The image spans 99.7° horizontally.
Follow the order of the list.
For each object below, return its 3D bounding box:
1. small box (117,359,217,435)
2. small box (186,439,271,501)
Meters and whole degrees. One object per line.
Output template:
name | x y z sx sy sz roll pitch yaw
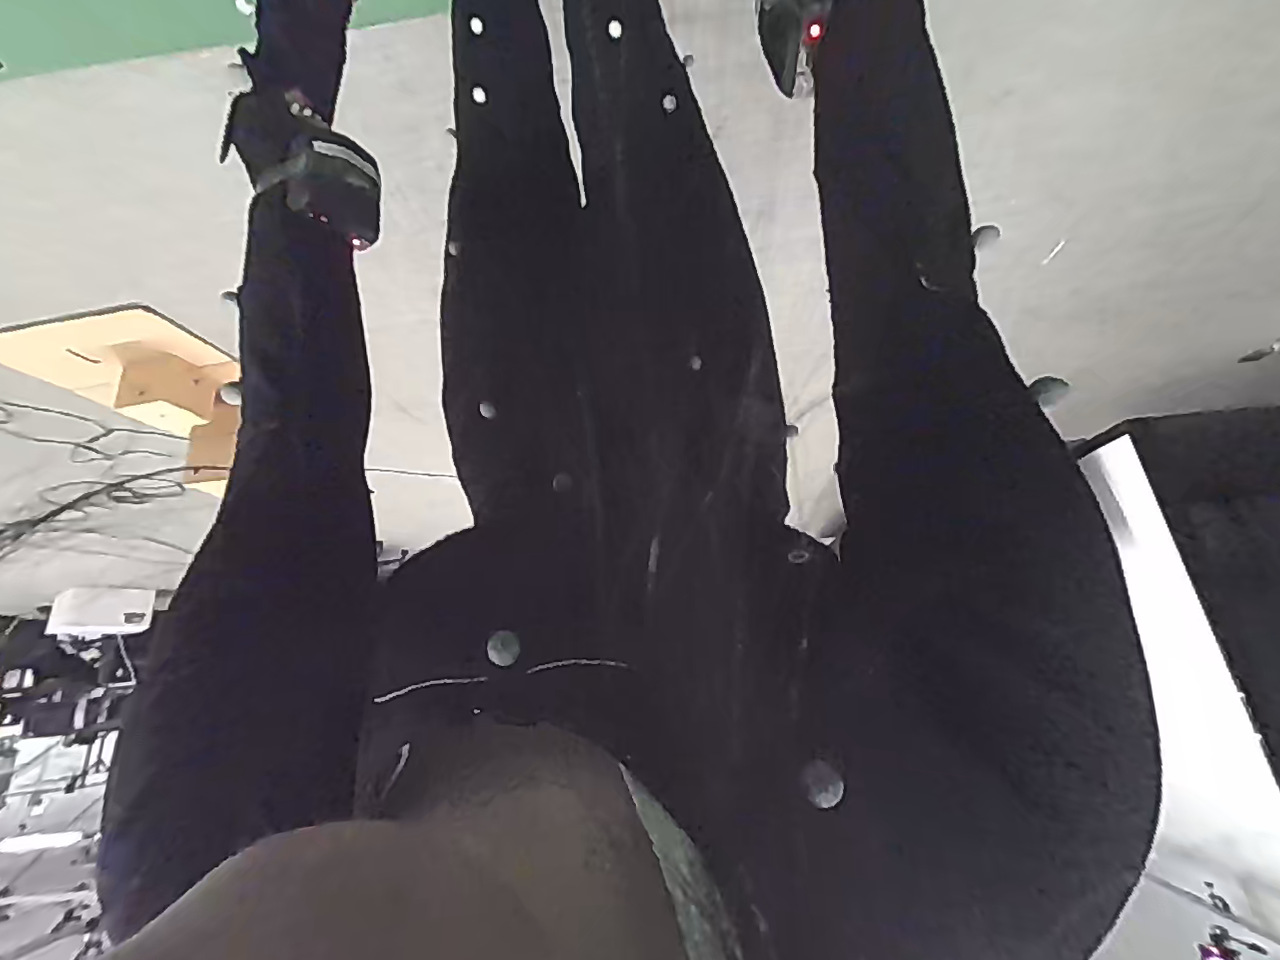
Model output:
small box | -1.509 -0.266 1.739 0.179 0.176 0.168 -10 161 7
small box | -1.449 -0.035 1.918 0.179 0.176 0.168 -8 163 3
